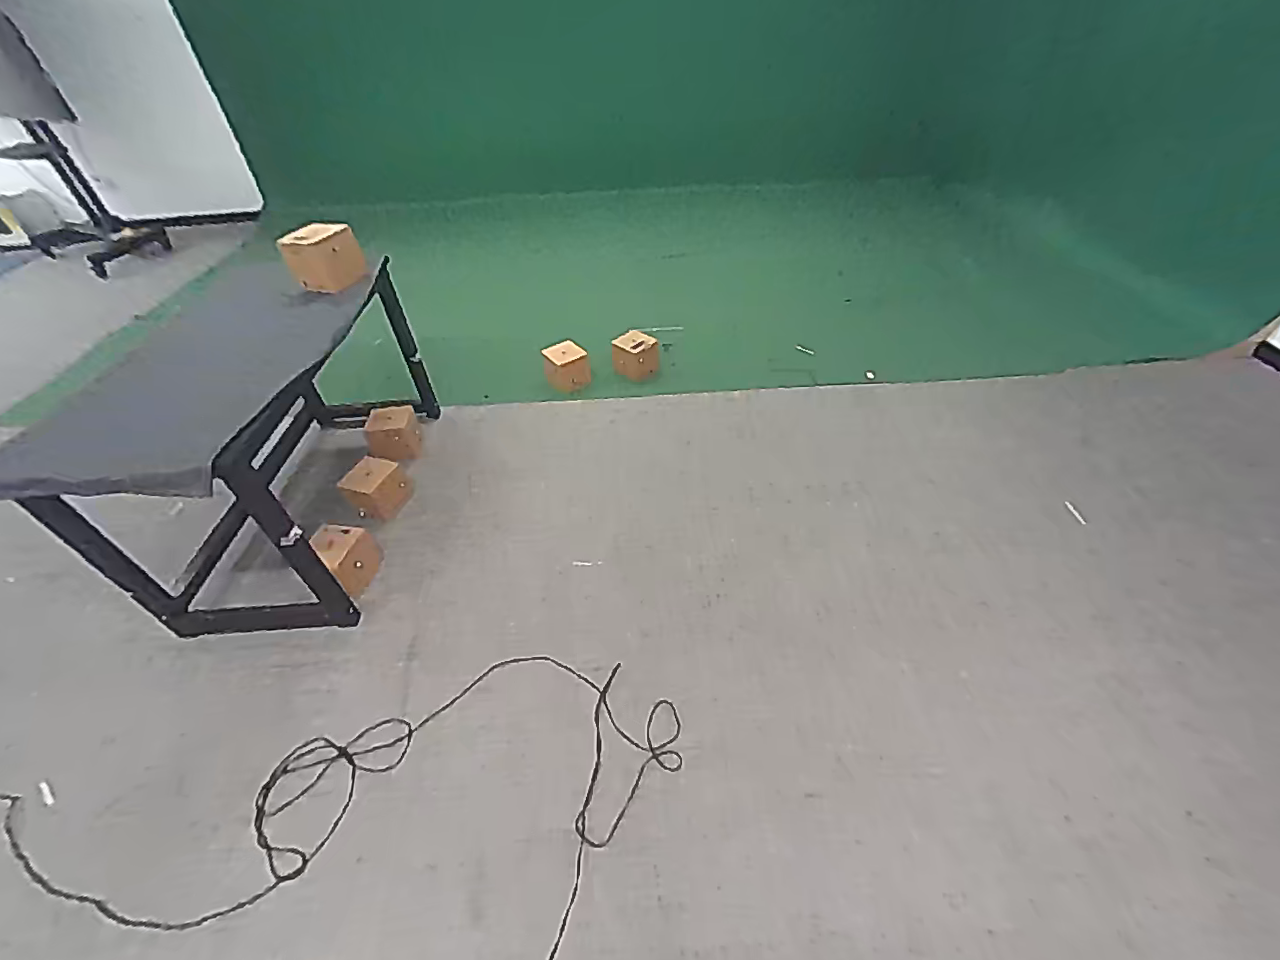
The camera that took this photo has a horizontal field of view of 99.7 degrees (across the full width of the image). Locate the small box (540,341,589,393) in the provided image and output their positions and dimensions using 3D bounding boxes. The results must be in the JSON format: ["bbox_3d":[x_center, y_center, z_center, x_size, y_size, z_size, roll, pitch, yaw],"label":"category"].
[{"bbox_3d":[-0.372,-0.556,2.678,0.168,0.176,0.179,-29,50,-25],"label":"small box"}]

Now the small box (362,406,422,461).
[{"bbox_3d":[-1.067,-0.199,2.345,0.179,0.176,0.168,-7,43,-3],"label":"small box"}]

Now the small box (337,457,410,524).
[{"bbox_3d":[-1.020,0.040,2.094,0.168,0.176,0.179,10,47,16],"label":"small box"}]

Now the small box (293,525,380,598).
[{"bbox_3d":[-1.023,0.280,1.843,0.168,0.176,0.179,5,45,9],"label":"small box"}]

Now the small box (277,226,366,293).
[{"bbox_3d":[-1.097,-0.768,1.882,0.168,0.176,0.179,10,46,17],"label":"small box"}]
